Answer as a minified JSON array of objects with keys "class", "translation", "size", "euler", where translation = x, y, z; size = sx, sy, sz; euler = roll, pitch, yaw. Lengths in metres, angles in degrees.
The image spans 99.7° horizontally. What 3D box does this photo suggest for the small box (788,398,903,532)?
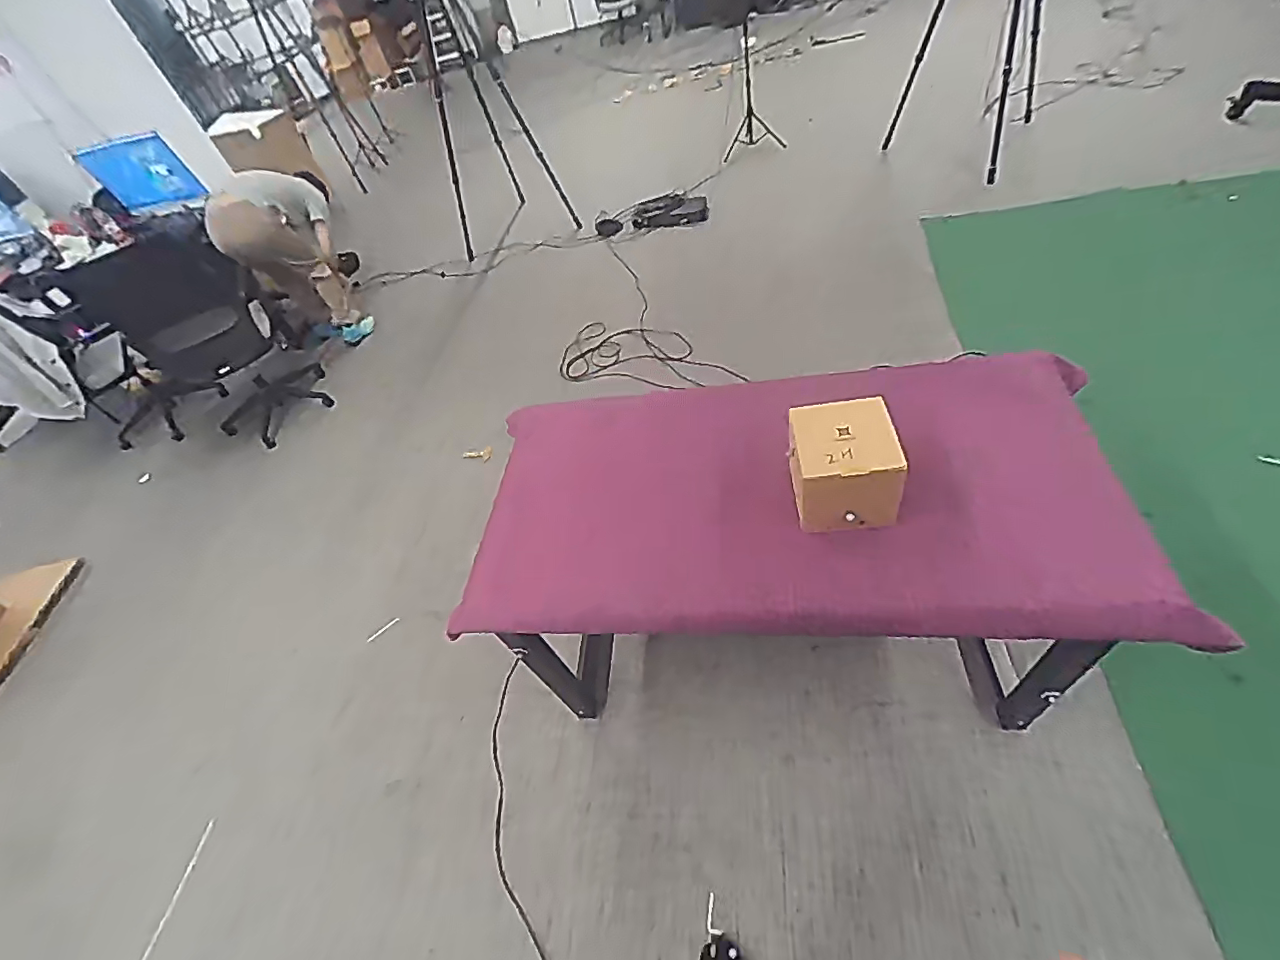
[{"class":"small box","translation":[0.366,-0.025,0.997],"size":[0.168,0.176,0.179],"euler":[-6,49,11]}]
